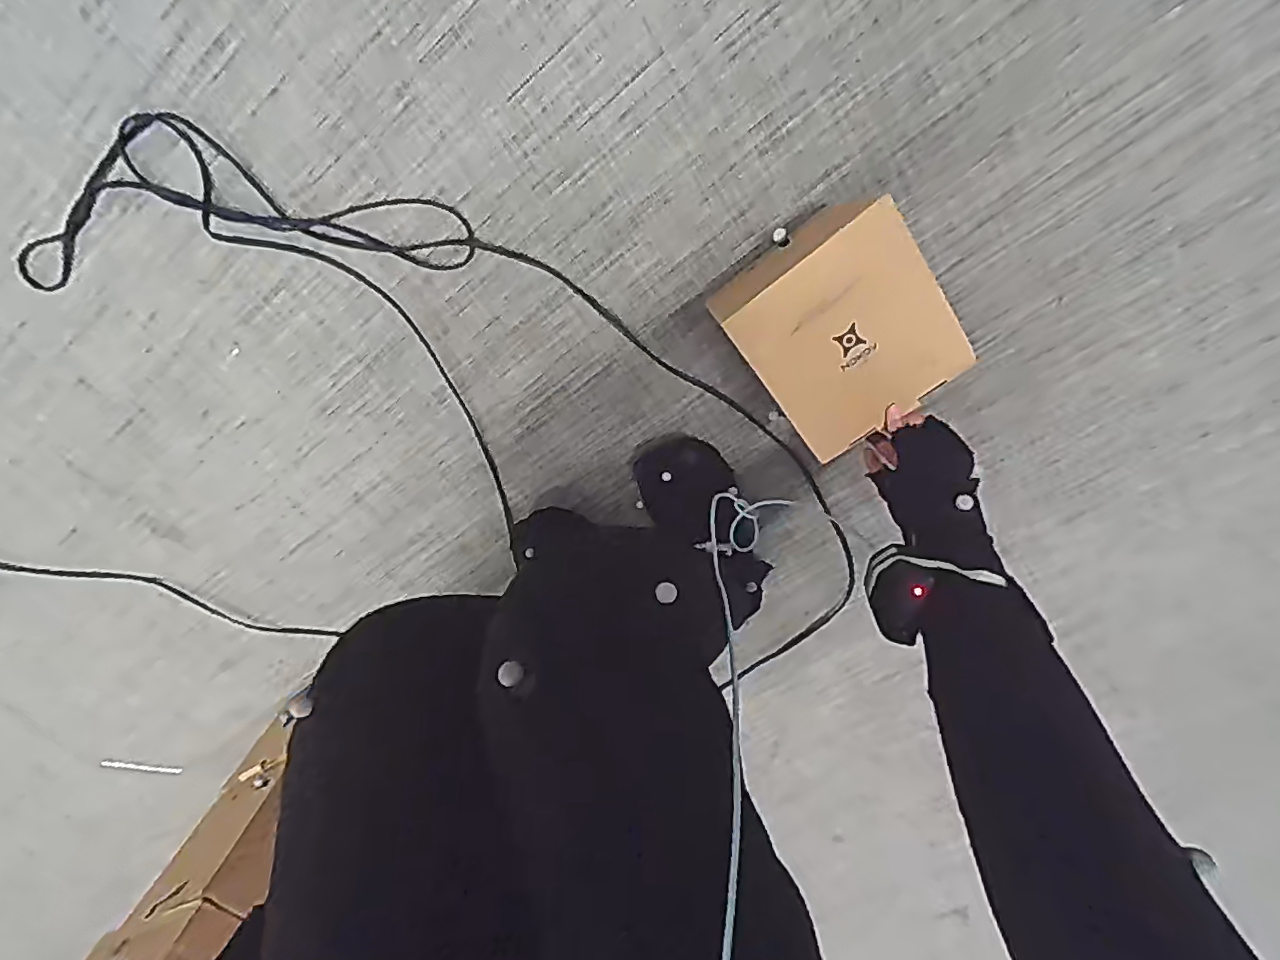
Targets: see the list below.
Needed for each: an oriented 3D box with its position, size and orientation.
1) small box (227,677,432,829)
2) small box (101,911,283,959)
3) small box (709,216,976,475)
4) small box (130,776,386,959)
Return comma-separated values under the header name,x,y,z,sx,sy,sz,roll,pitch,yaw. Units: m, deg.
name,x,y,z,sx,sy,sz,roll,pitch,yaw
small box,-0.466,0.435,0.839,0.168,0.176,0.179,-33,108,19
small box,-0.484,0.585,0.546,0.168,0.176,0.179,-26,111,13
small box,0.188,-0.143,0.551,0.168,0.176,0.179,-36,110,16
small box,-0.472,0.512,0.691,0.168,0.176,0.179,-31,111,15
